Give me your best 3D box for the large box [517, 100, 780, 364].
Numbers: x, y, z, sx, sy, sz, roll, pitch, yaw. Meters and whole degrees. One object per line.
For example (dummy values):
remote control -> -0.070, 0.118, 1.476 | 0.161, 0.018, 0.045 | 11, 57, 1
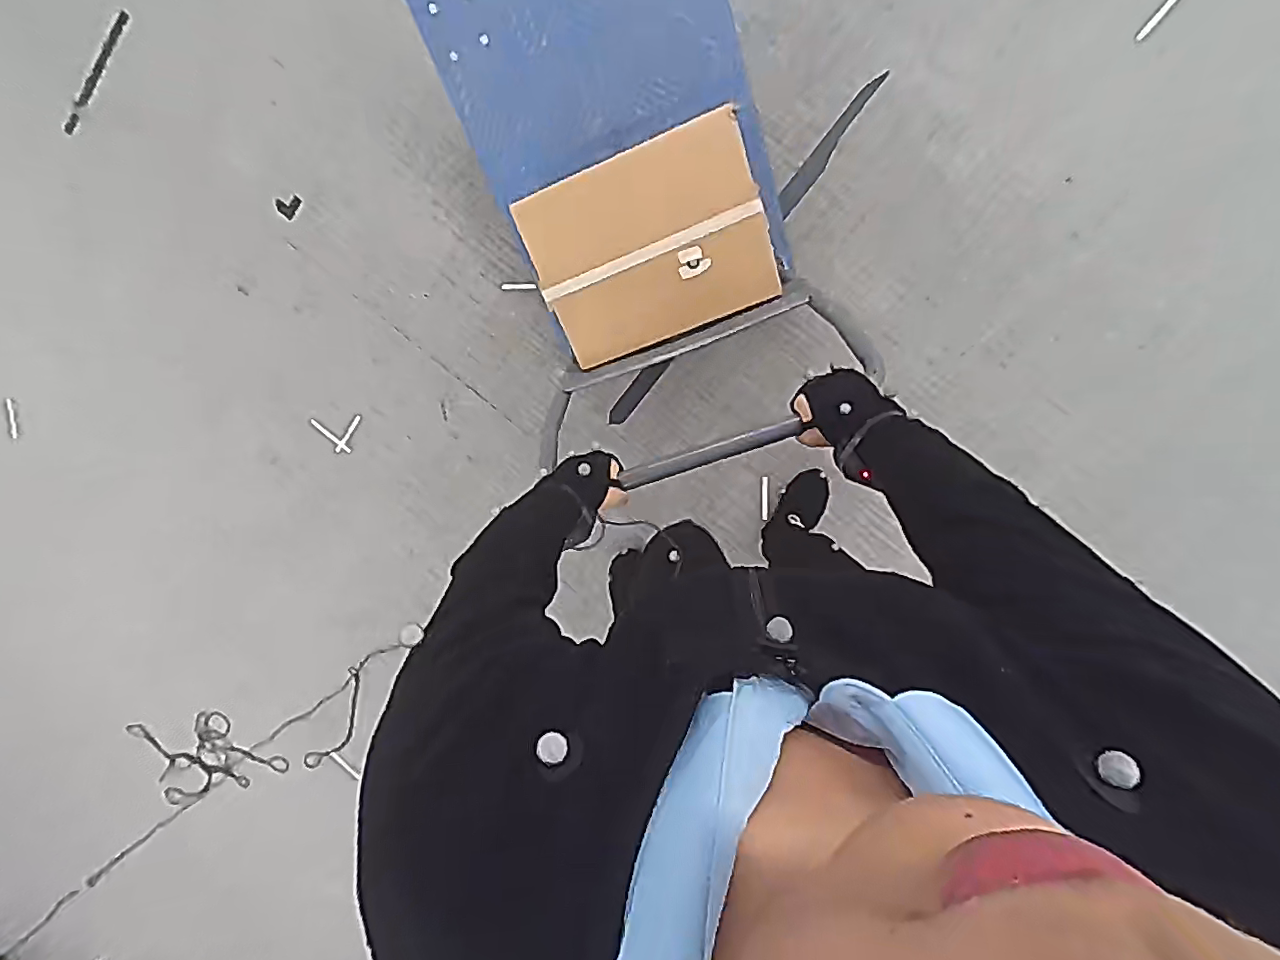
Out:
large box -> 0.021, -0.485, 1.104 | 0.408, 0.320, 0.320 | -20, 115, 10
